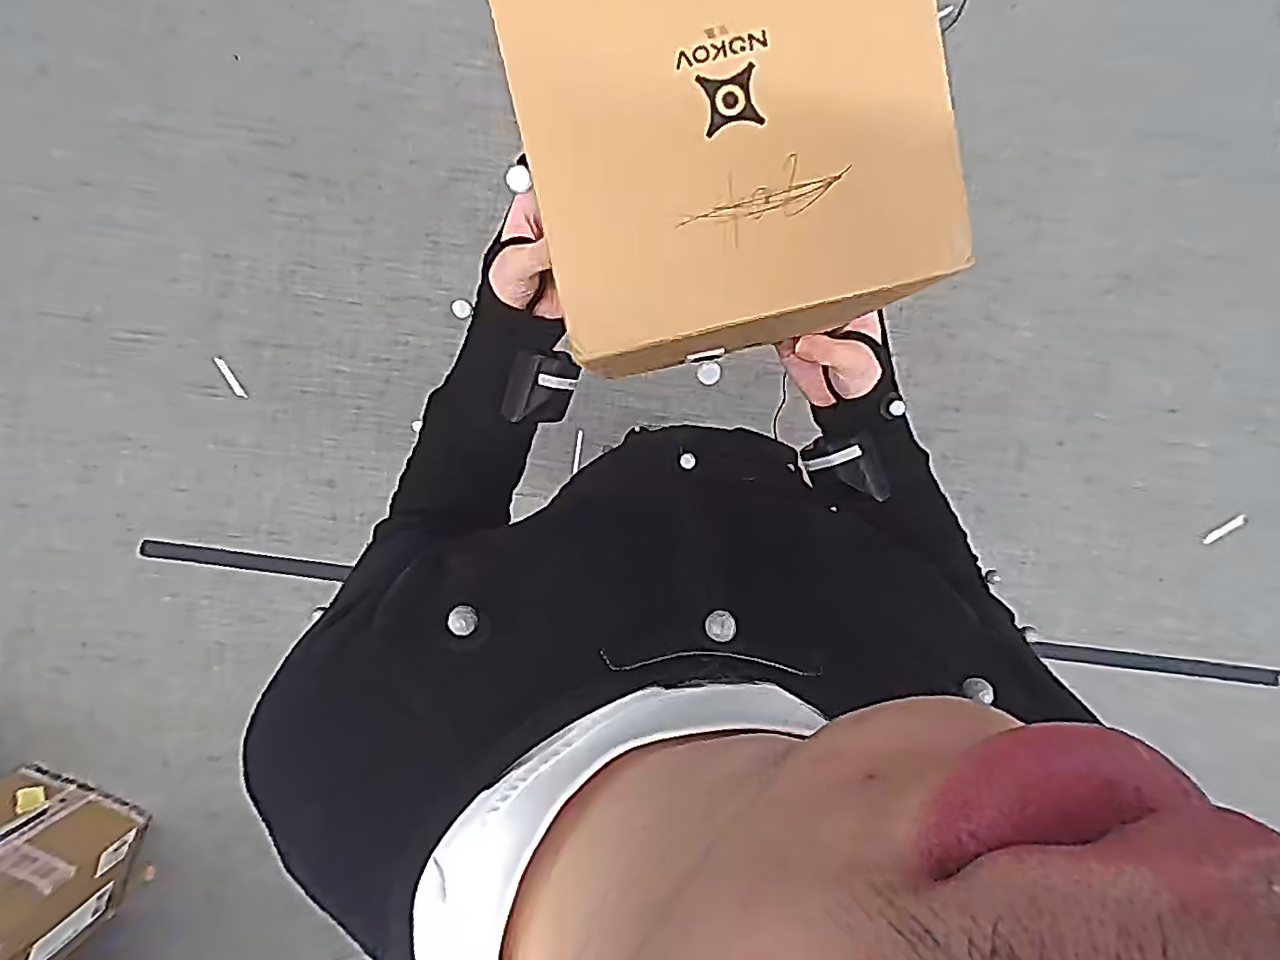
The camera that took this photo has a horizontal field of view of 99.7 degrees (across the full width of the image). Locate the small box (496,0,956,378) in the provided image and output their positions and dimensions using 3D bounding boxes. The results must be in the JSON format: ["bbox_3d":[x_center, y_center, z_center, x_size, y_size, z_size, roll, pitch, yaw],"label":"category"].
[{"bbox_3d":[0.034,-0.164,0.300,0.168,0.176,0.179,-14,97,3],"label":"small box"}]
